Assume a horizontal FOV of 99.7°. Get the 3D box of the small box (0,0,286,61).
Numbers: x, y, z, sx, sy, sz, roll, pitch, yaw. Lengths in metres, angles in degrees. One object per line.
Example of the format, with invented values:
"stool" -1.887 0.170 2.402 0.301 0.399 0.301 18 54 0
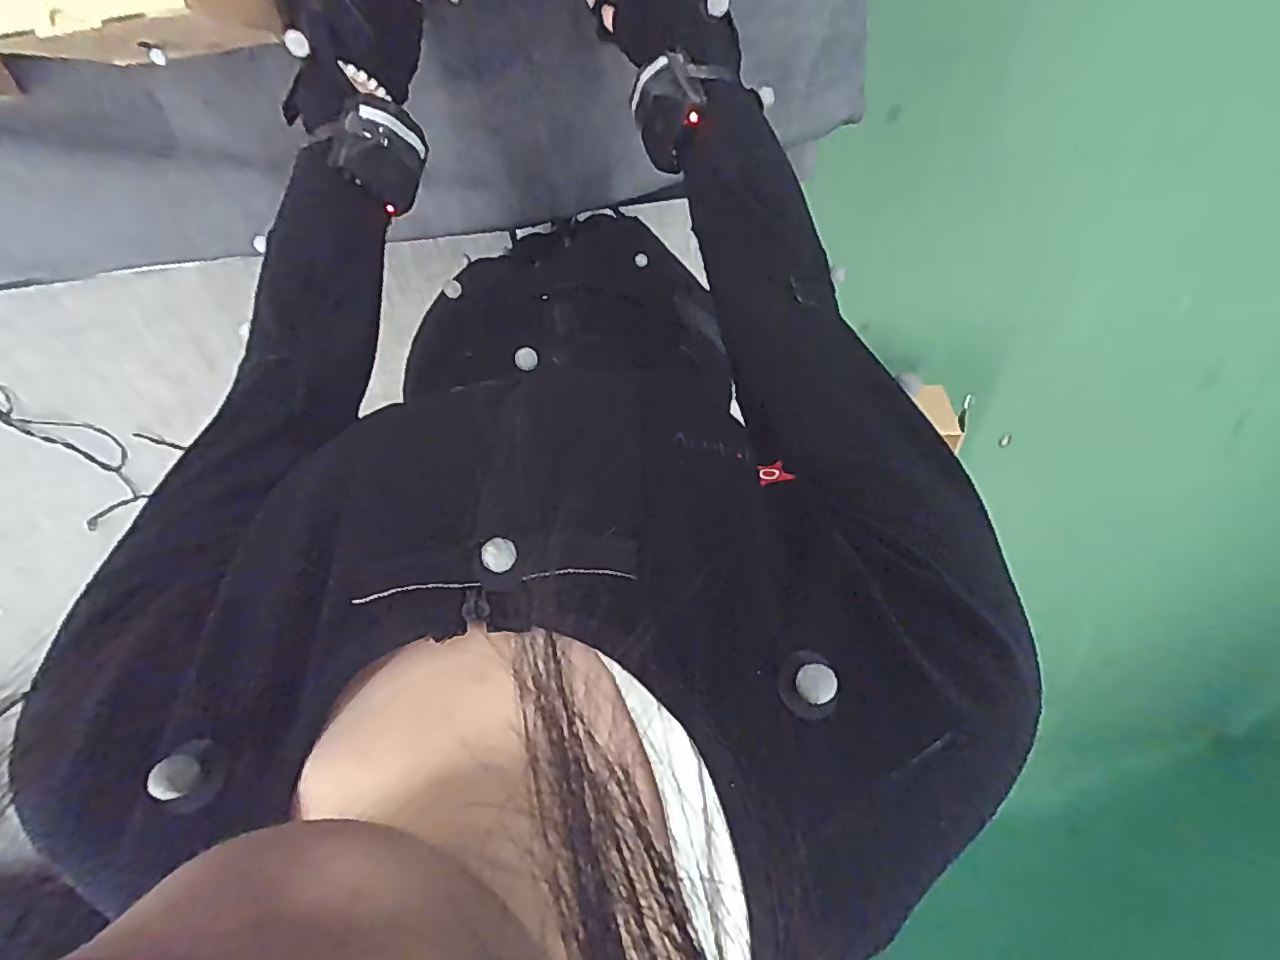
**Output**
"small box" -0.394 -0.412 0.373 0.168 0.176 0.179 -10 127 -1
